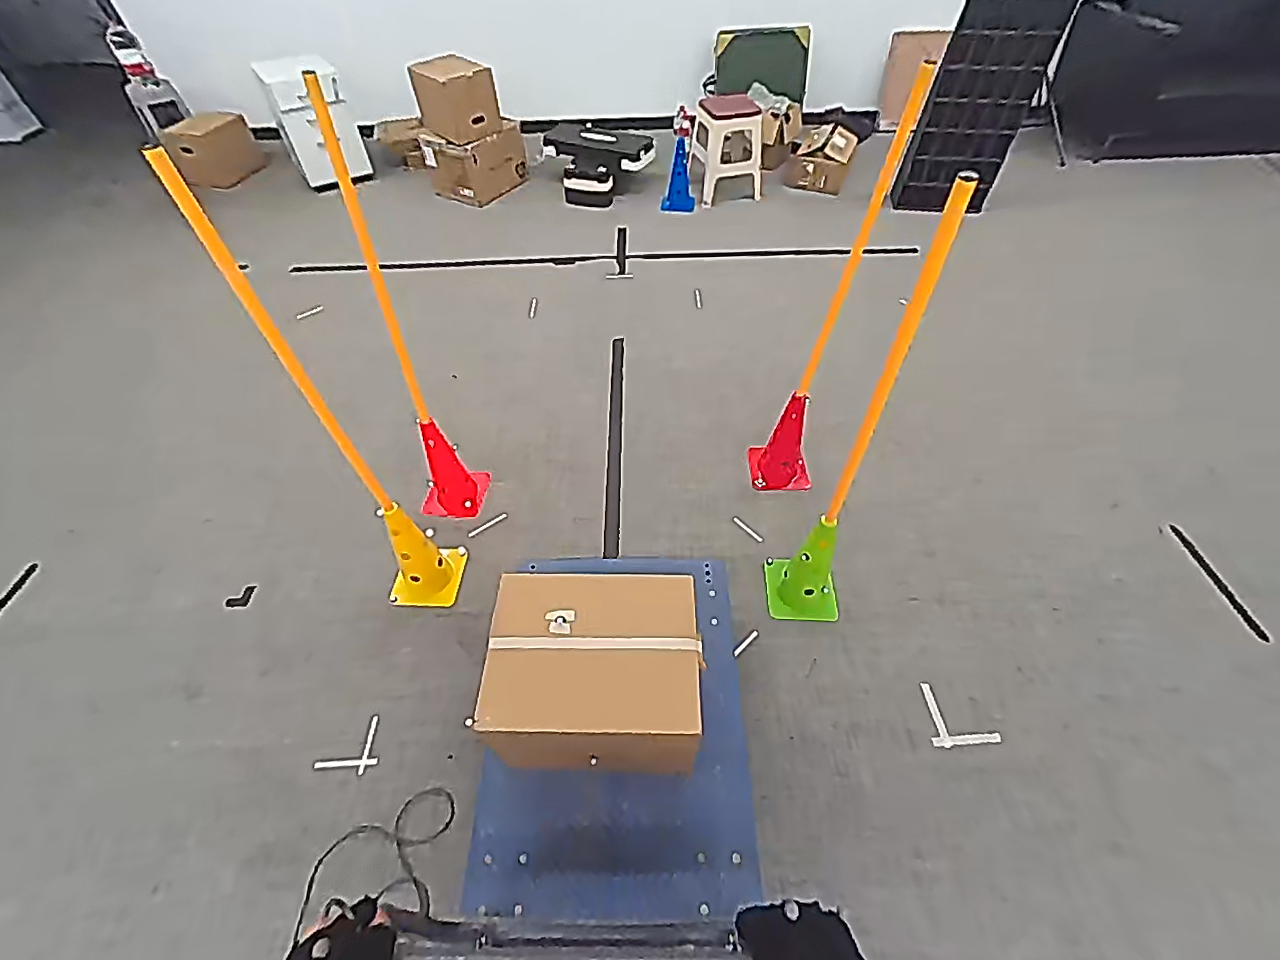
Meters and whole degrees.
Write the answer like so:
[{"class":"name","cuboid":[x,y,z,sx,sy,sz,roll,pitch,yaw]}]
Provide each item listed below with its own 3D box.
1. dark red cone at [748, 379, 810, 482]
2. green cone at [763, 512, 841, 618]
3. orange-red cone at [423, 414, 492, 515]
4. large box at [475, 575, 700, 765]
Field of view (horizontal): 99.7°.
[{"class":"dark red cone","cuboid":[0.496,-0.172,1.797,0.201,0.394,0.202,0,51,-1]},{"class":"green cone","cuboid":[0.481,0.213,1.502,0.202,0.368,0.200,3,50,2]},{"class":"orange-red cone","cuboid":[-0.633,-0.075,1.758,0.198,0.360,0.199,6,49,4]},{"class":"large box","cuboid":[-0.088,0.413,1.158,0.408,0.320,0.320,0,51,2]}]
